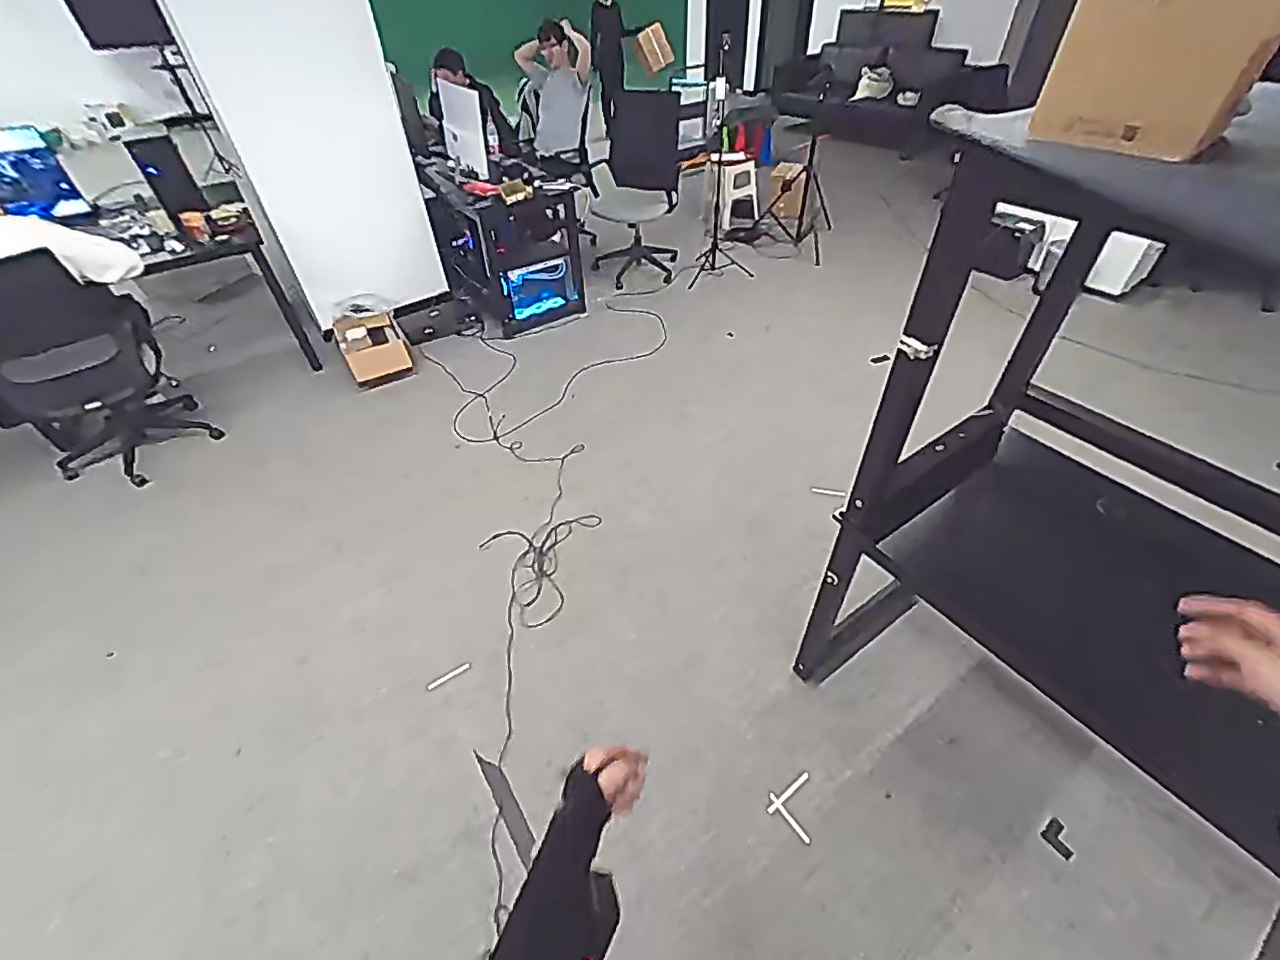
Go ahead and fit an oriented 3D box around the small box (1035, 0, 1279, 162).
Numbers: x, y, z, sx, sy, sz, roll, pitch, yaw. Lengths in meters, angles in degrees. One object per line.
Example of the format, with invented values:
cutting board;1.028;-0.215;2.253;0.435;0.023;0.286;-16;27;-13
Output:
small box;0.578;-0.470;0.588;0.179;0.176;0.168;-34;53;-27
